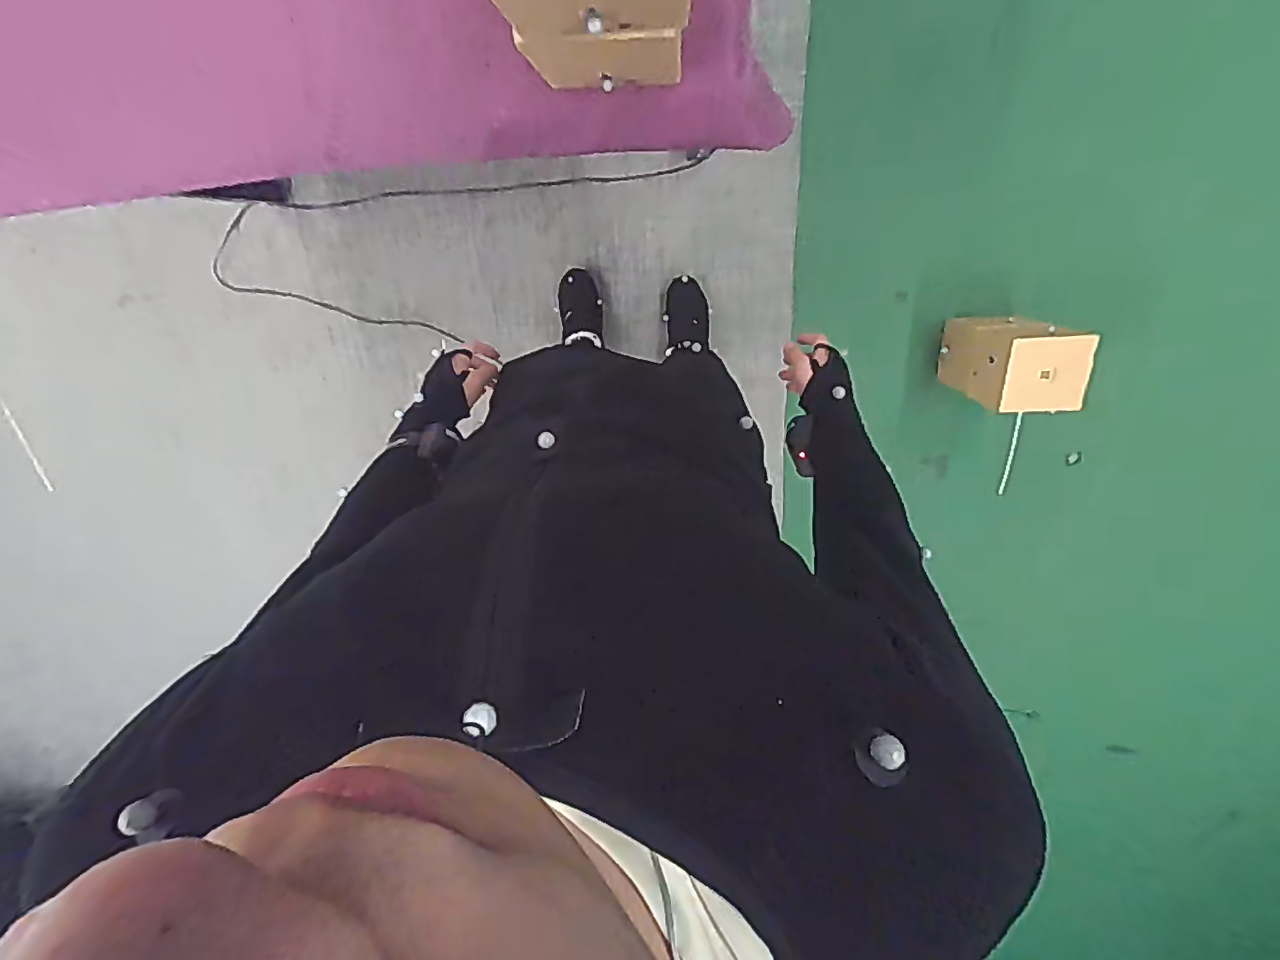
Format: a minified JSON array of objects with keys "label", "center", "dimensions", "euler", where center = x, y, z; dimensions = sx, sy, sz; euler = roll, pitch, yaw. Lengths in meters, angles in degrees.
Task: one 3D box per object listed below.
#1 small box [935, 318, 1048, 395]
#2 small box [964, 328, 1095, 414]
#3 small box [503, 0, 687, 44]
[{"label":"small box","center":[0.897,-0.322,1.397],"dimensions":[0.179,0.176,0.168],"euler":[-1,113,6]},{"label":"small box","center":[0.887,-0.255,1.251],"dimensions":[0.179,0.176,0.168],"euler":[-2,113,4]},{"label":"small box","center":[-0.046,-0.483,0.425],"dimensions":[0.168,0.176,0.179],"euler":[0,113,6]}]
